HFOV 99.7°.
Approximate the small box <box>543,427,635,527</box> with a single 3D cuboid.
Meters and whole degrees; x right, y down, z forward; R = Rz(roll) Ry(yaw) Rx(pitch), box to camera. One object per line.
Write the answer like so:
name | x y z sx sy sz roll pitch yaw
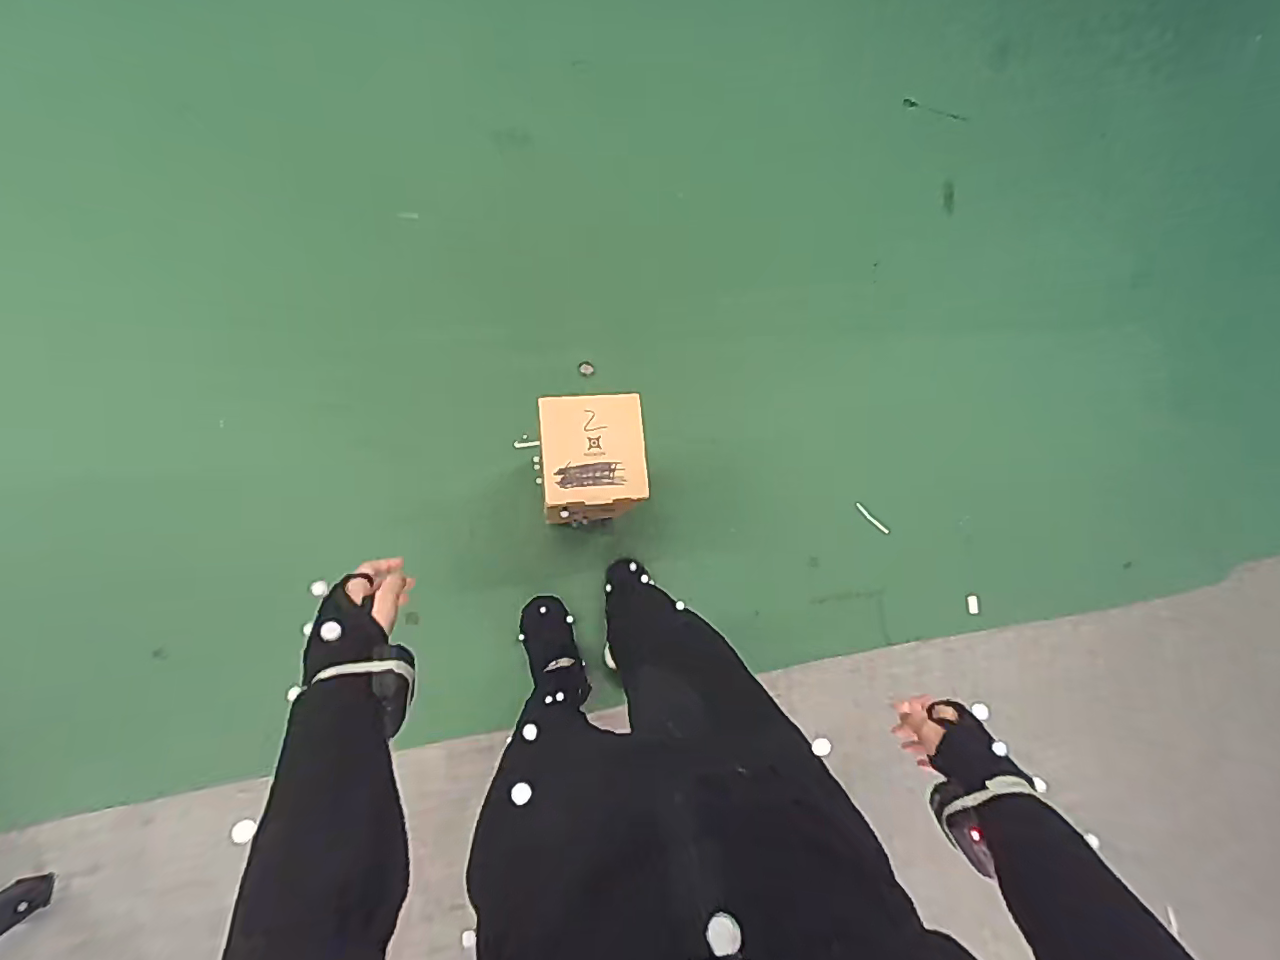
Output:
small box | -0.110 -0.002 1.103 0.168 0.176 0.179 -5 83 -9
